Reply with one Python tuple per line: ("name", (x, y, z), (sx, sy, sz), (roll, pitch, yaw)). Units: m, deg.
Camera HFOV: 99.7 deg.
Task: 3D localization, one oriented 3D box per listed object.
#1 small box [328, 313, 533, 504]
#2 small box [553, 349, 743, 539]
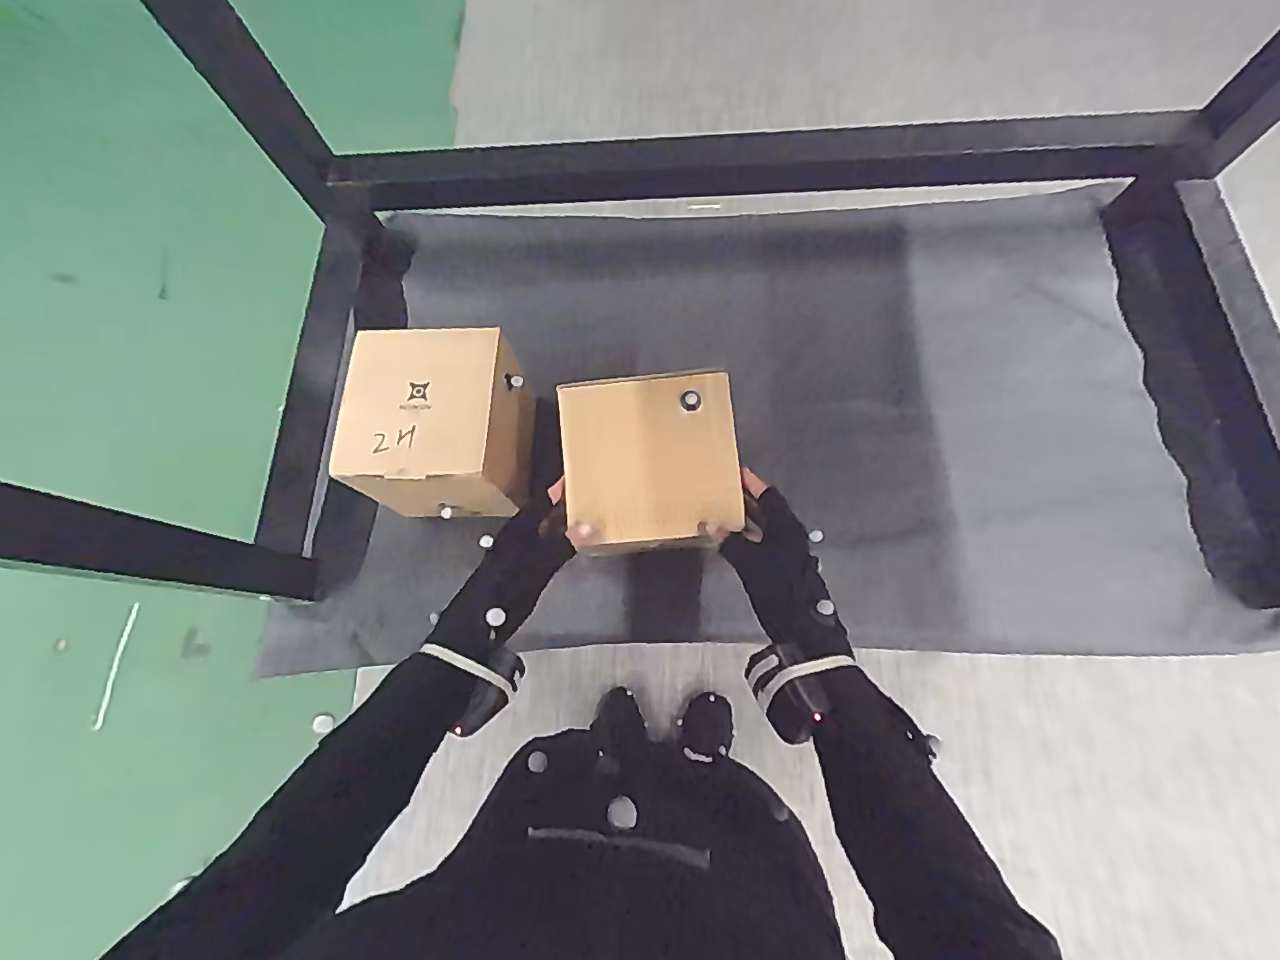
("small box", (-0.232, -0.078, 0.651), (0.168, 0.176, 0.179), (-1, 72, 5))
("small box", (0.010, -0.026, 0.605), (0.179, 0.168, 0.176), (-6, 79, 3))
